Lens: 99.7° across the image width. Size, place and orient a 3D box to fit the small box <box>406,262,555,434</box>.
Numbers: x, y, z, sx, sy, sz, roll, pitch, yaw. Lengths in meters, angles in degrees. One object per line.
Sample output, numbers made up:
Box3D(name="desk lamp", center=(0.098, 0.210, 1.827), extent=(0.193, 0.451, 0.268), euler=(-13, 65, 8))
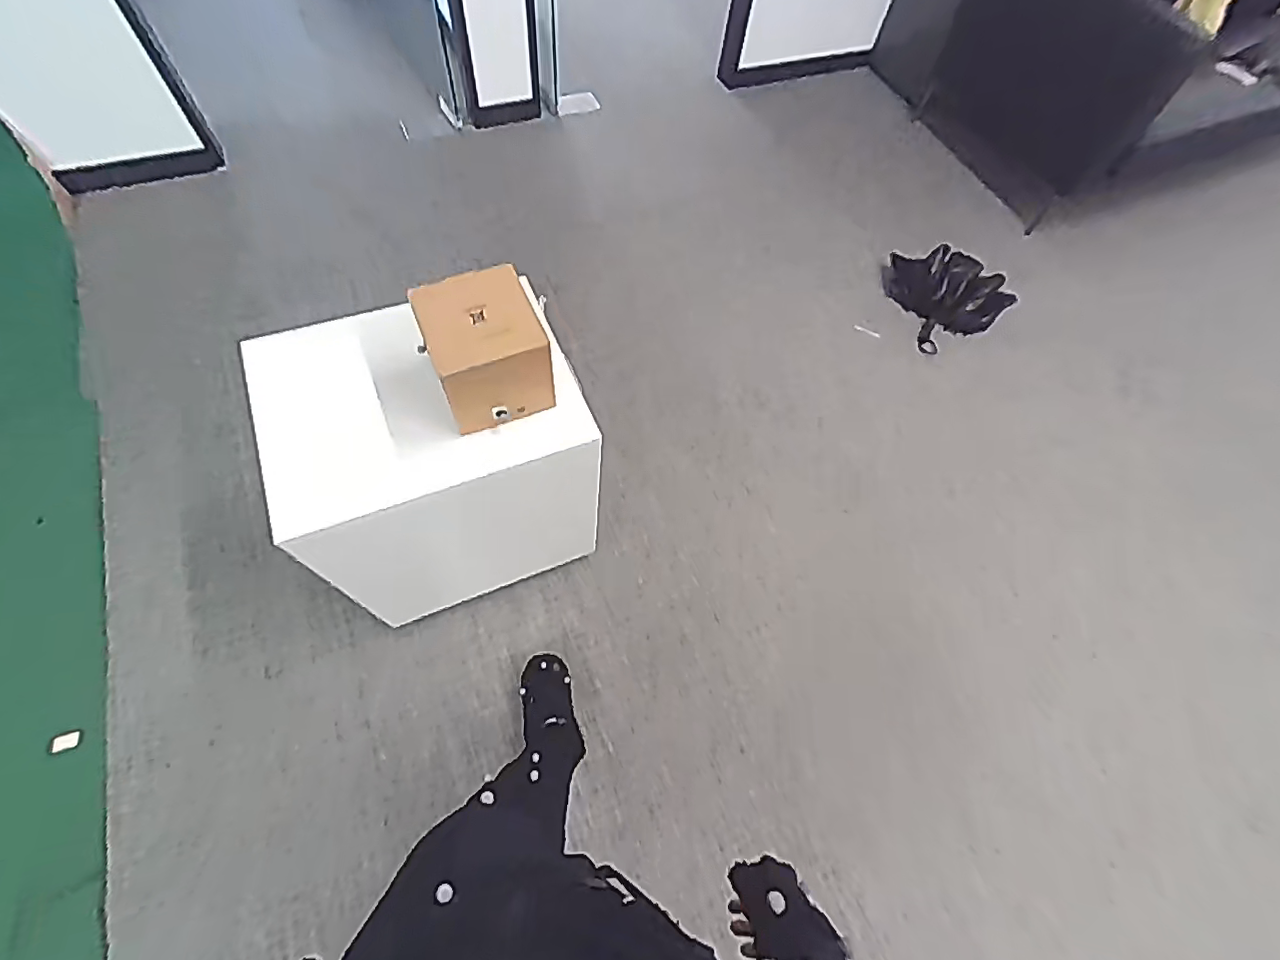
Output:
Box3D(name="small box", center=(-0.244, -0.203, 0.855), extent=(0.168, 0.176, 0.179), euler=(-22, 68, -15))
